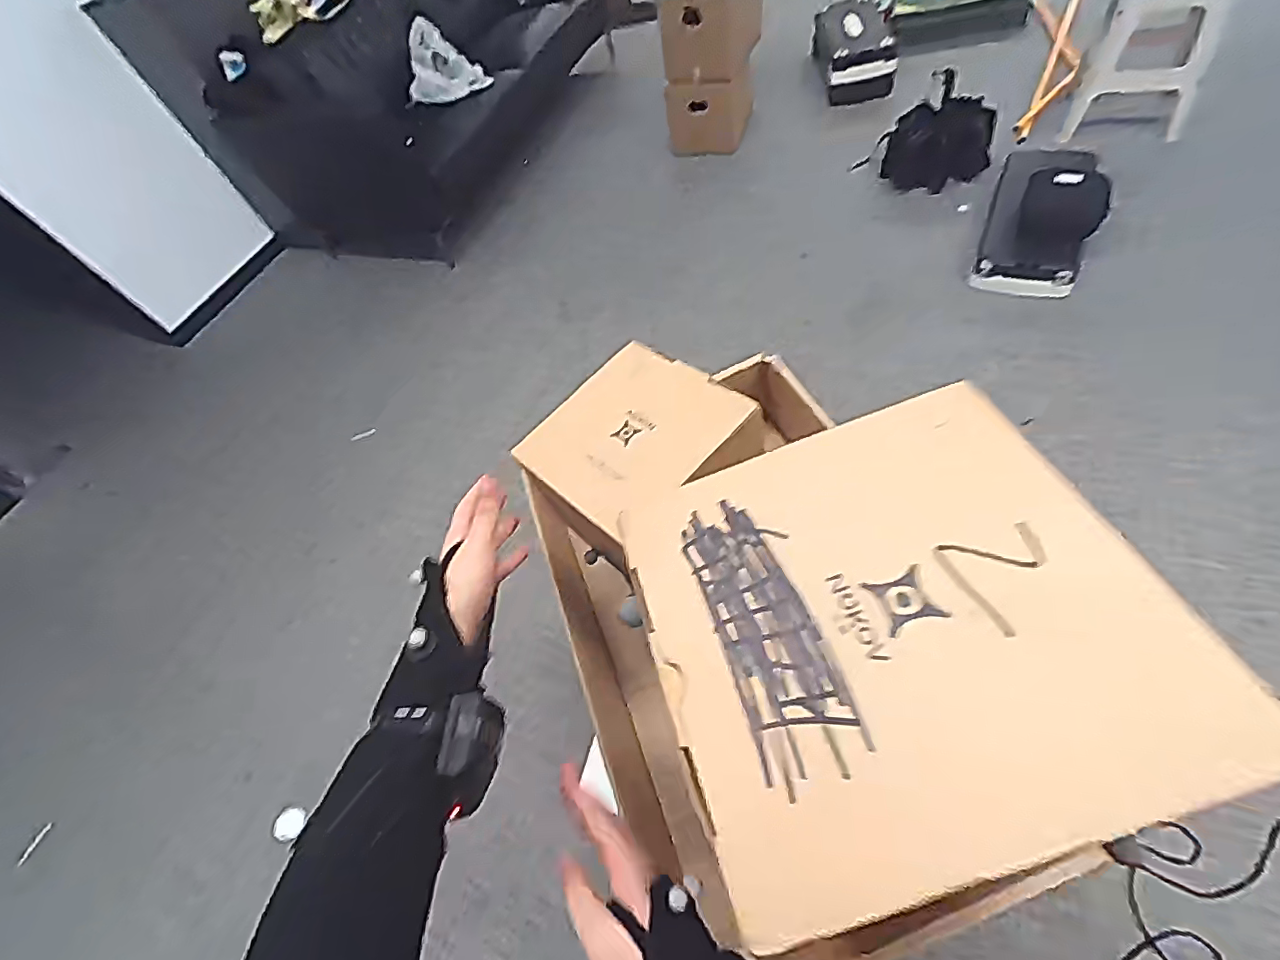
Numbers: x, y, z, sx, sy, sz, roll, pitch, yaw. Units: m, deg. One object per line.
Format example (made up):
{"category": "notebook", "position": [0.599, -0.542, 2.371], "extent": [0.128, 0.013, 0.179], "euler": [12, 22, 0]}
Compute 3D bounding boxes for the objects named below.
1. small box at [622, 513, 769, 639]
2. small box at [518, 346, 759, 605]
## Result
{"category": "small box", "position": [0.054, 0.087, 0.703], "extent": [0.168, 0.176, 0.179], "euler": [-32, 56, -6]}
{"category": "small box", "position": [0.011, -0.002, 0.574], "extent": [0.168, 0.176, 0.179], "euler": [34, 73, 33]}
